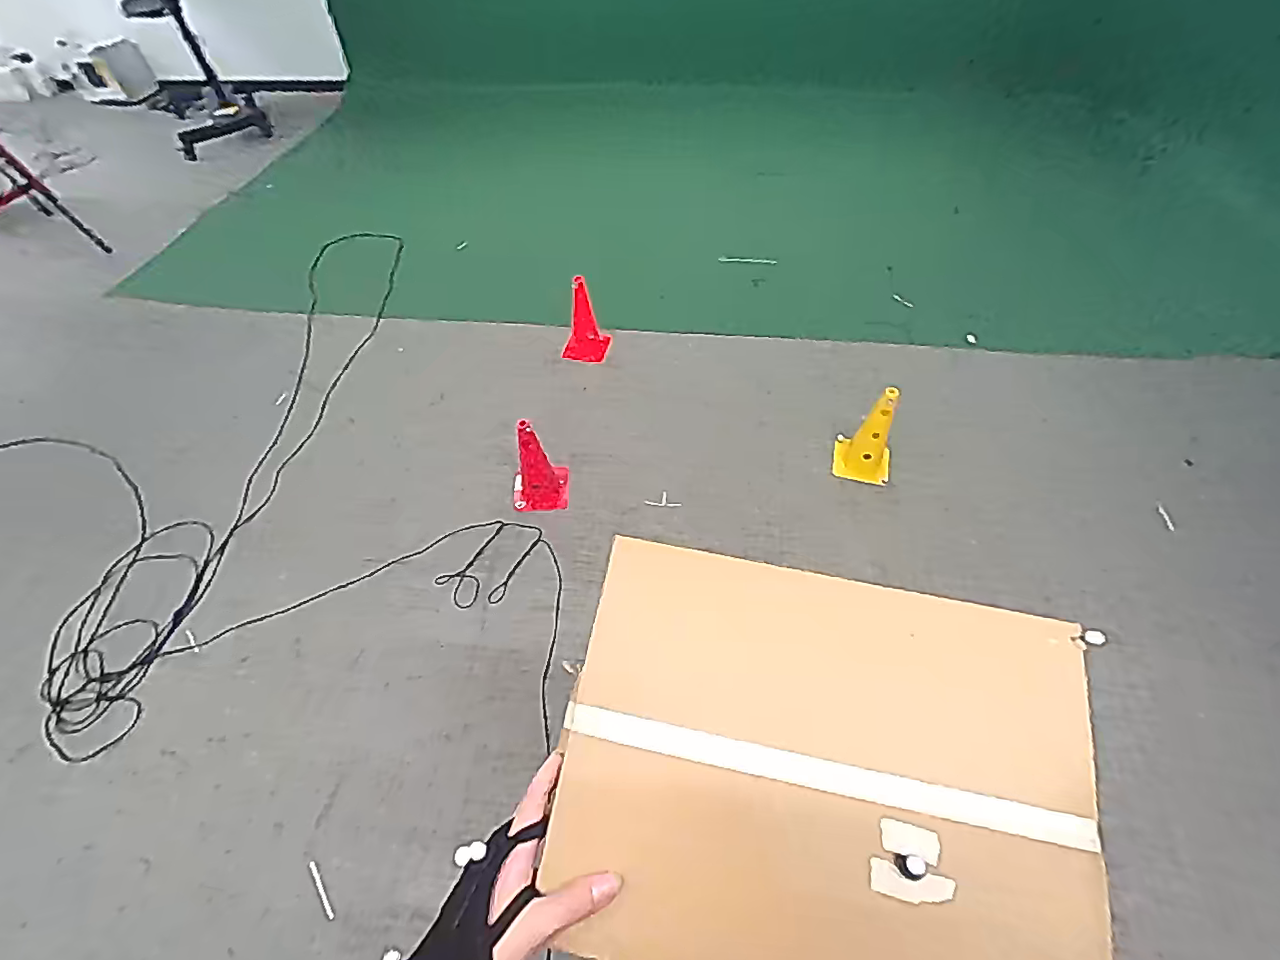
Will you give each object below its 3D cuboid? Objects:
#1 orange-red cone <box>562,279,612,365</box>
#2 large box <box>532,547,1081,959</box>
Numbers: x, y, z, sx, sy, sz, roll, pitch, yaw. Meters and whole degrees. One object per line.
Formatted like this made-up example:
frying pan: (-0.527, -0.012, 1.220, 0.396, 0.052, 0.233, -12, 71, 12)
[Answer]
orange-red cone: (-0.254, -0.714, 2.382, 0.199, 0.360, 0.198, 10, 52, 11)
large box: (0.140, 0.285, 0.577, 0.408, 0.320, 0.320, 9, 70, 6)
